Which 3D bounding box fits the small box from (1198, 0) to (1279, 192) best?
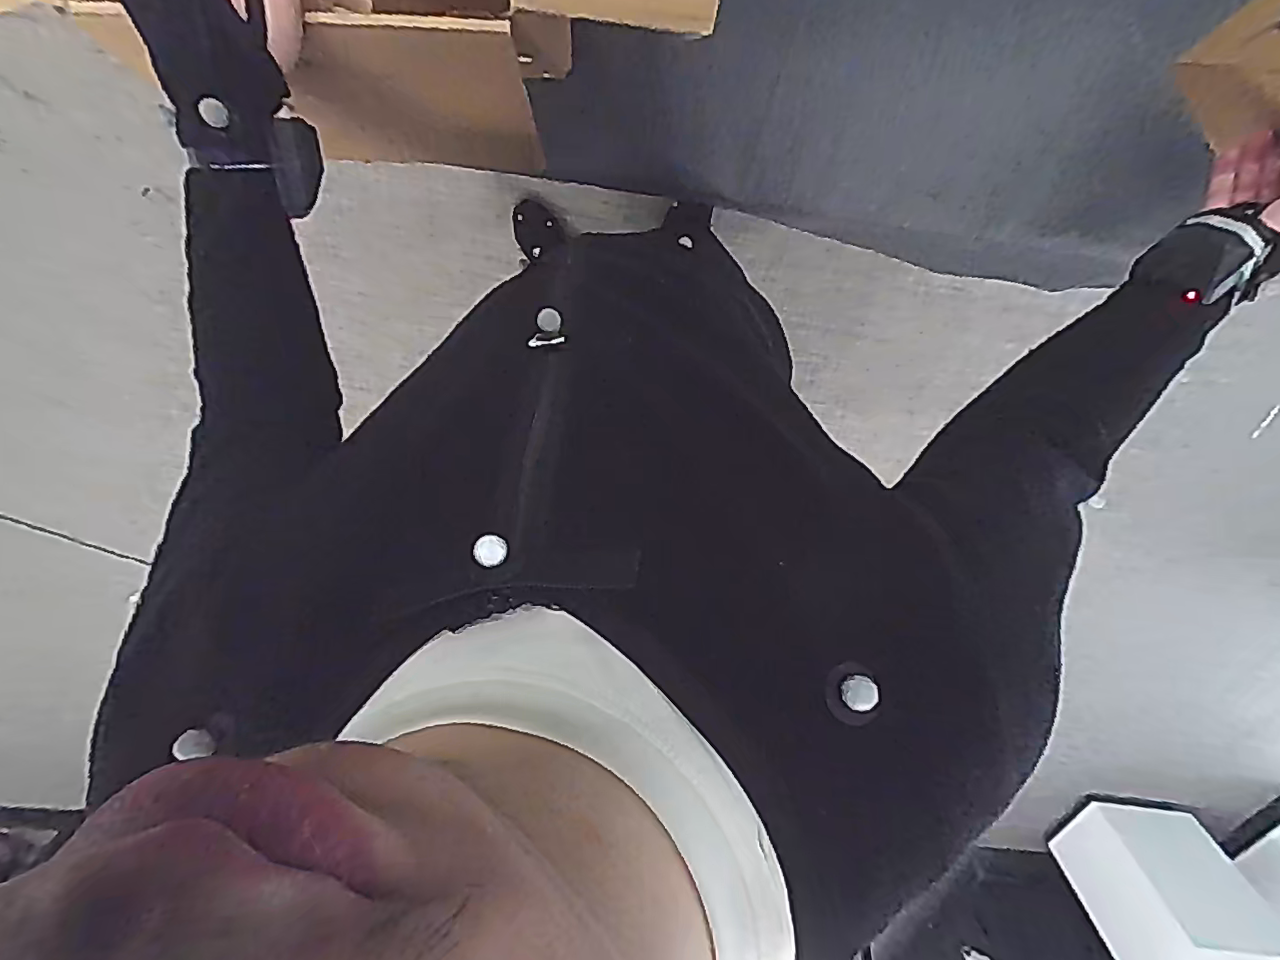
[{"bbox_3d":[0.610,-0.345,0.428,0.168,0.176,0.179,38,126,-19],"label":"small box"}]
